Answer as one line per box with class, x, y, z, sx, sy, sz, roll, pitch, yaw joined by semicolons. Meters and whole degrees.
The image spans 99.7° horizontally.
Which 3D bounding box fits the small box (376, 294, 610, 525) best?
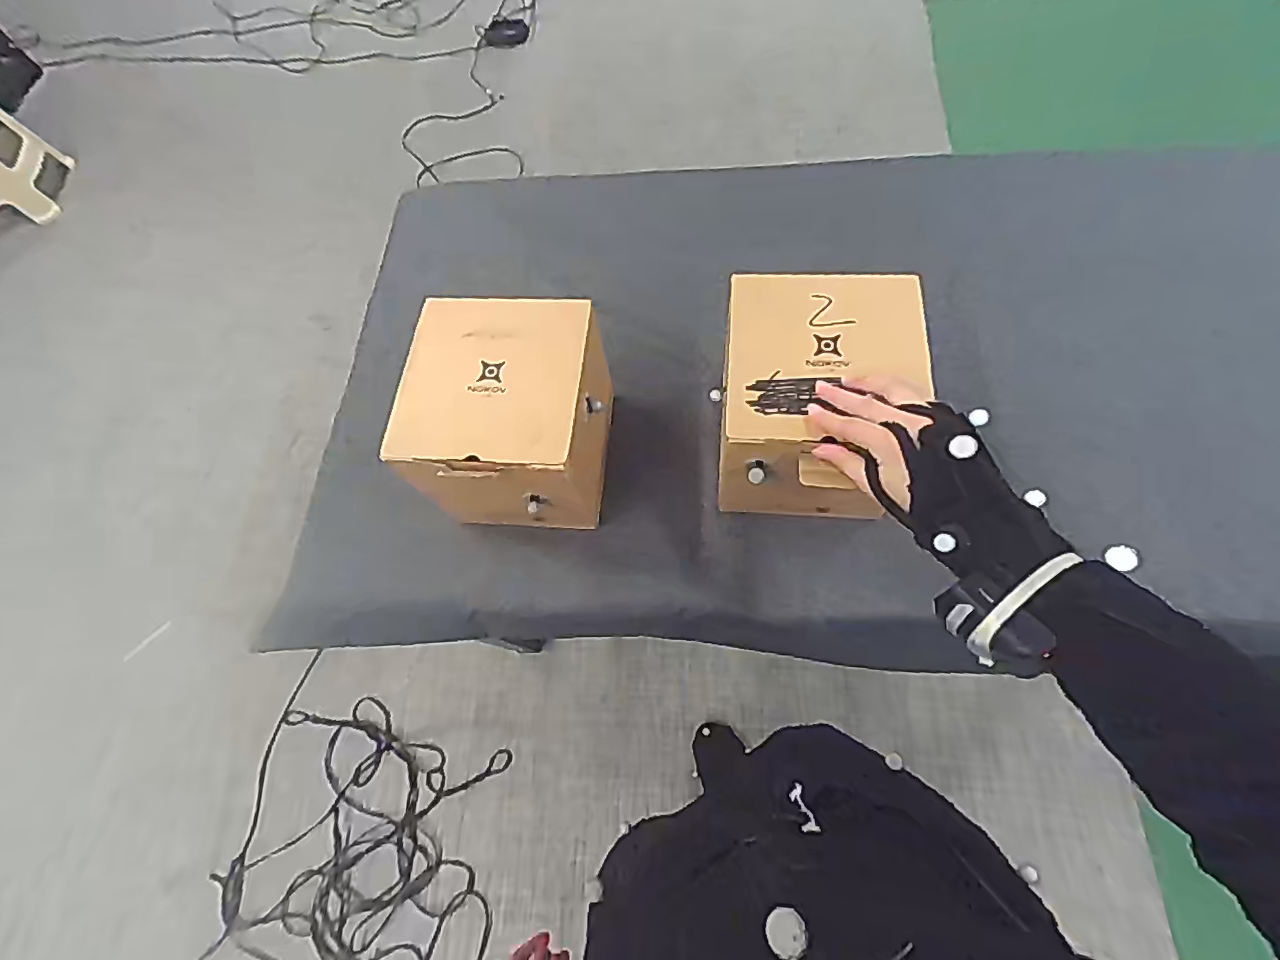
small box;-0.127;-0.062;0.546;0.168;0.176;0.179;3;66;5
